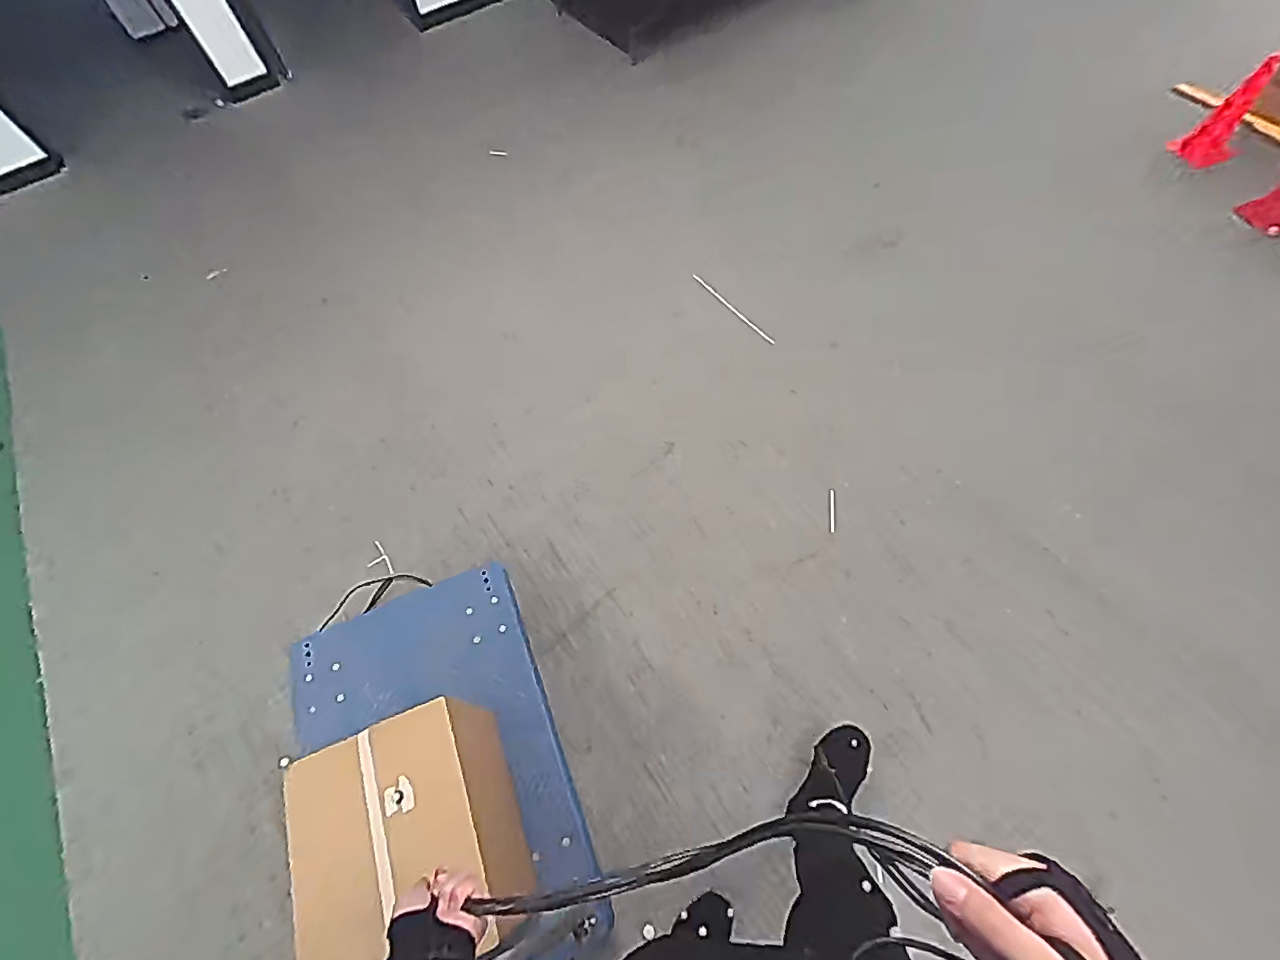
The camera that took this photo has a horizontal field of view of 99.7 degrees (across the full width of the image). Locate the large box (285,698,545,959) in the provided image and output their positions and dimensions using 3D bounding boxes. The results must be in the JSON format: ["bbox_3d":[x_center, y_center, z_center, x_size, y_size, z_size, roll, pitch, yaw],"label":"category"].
[{"bbox_3d":[-0.420,0.700,1.045,0.320,0.320,0.408,-23,61,-8],"label":"large box"}]
